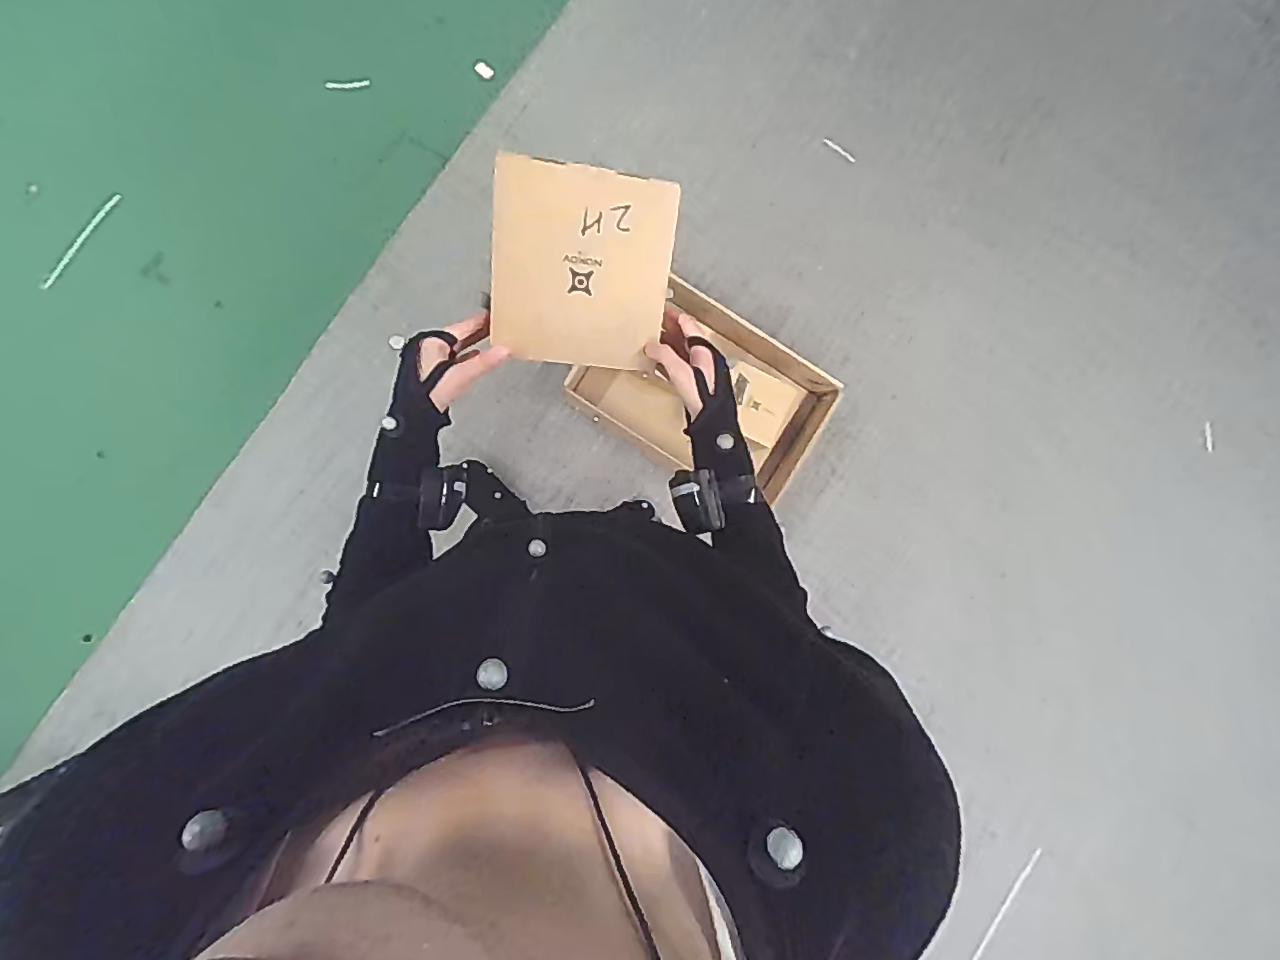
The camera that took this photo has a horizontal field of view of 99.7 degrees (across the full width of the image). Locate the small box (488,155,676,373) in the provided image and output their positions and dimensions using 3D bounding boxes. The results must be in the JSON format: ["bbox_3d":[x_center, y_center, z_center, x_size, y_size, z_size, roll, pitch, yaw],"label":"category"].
[{"bbox_3d":[-0.068,-0.225,0.581,0.168,0.176,0.179,3,112,-11],"label":"small box"}]

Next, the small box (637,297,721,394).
[{"bbox_3d":[0.082,-0.337,1.403,0.179,0.176,0.168,29,90,-3],"label":"small box"}]

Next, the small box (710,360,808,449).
[{"bbox_3d":[0.300,-0.187,1.410,0.179,0.176,0.168,26,89,-2],"label":"small box"}]
